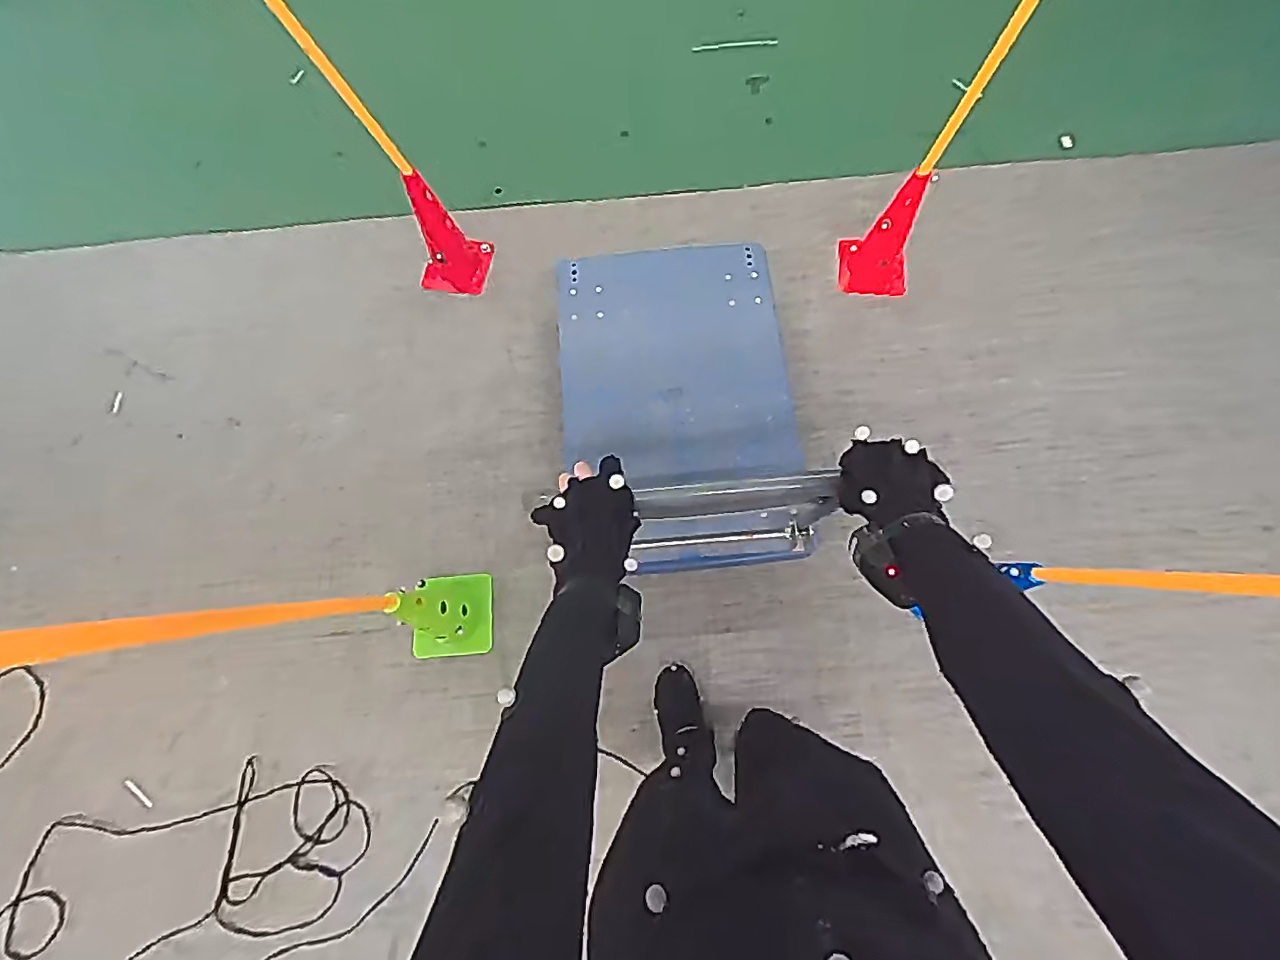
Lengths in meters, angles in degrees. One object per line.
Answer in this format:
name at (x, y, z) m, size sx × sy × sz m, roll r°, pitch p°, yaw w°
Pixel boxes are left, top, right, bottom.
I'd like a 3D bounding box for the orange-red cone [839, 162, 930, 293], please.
orange-red cone at (0.701, -0.708, 1.484) m, size 0.198 × 0.360 × 0.199 m, roll 6°, pitch 74°, yaw 5°
